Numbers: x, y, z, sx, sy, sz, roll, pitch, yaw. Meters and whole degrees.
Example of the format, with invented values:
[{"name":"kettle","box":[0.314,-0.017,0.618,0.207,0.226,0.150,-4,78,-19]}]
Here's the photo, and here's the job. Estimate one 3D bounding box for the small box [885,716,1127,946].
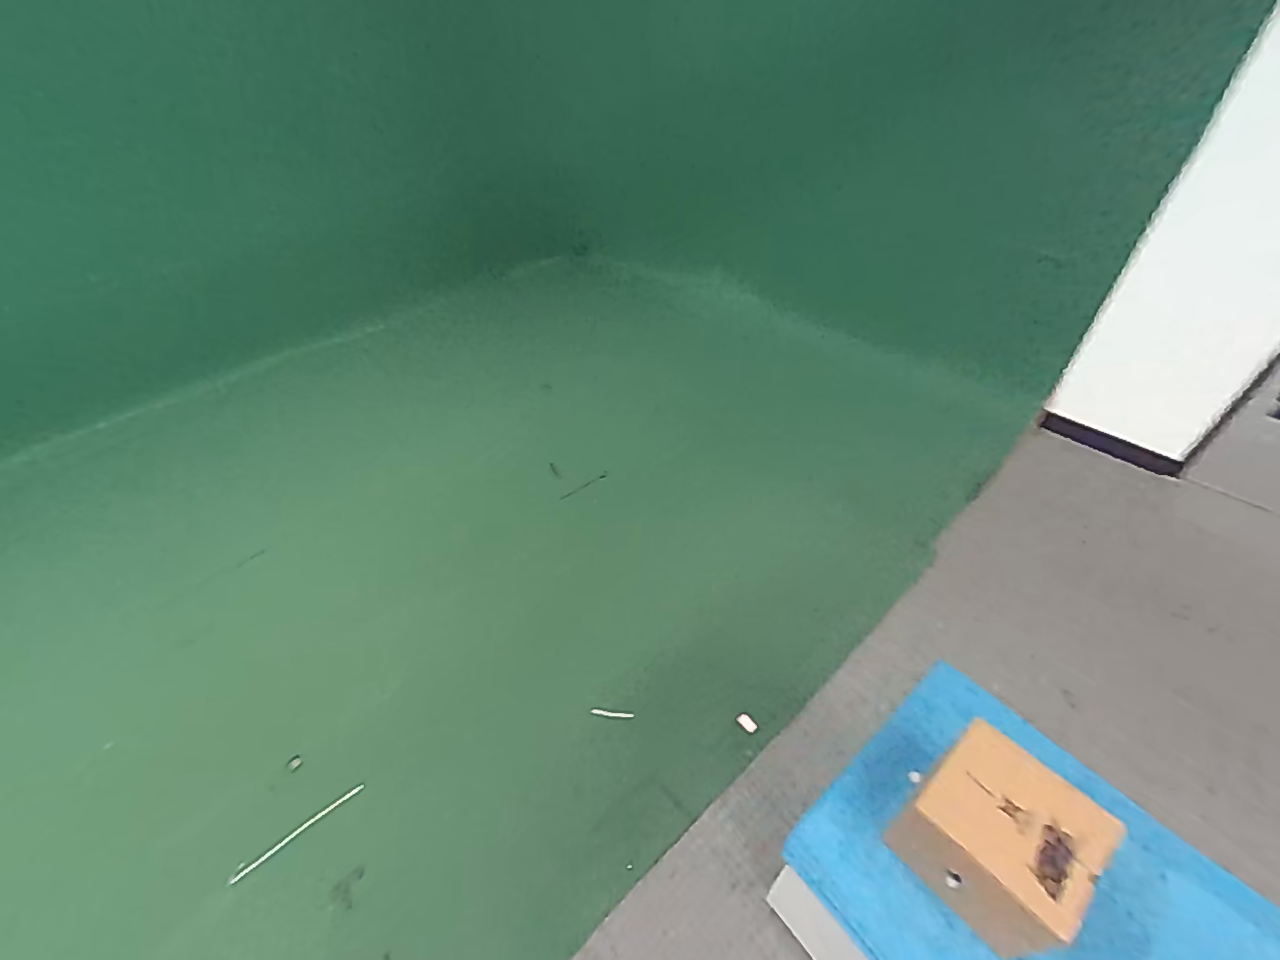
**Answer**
[{"name":"small box","box":[0.456,0.454,0.699,0.168,0.176,0.179,-32,50,-26]}]
